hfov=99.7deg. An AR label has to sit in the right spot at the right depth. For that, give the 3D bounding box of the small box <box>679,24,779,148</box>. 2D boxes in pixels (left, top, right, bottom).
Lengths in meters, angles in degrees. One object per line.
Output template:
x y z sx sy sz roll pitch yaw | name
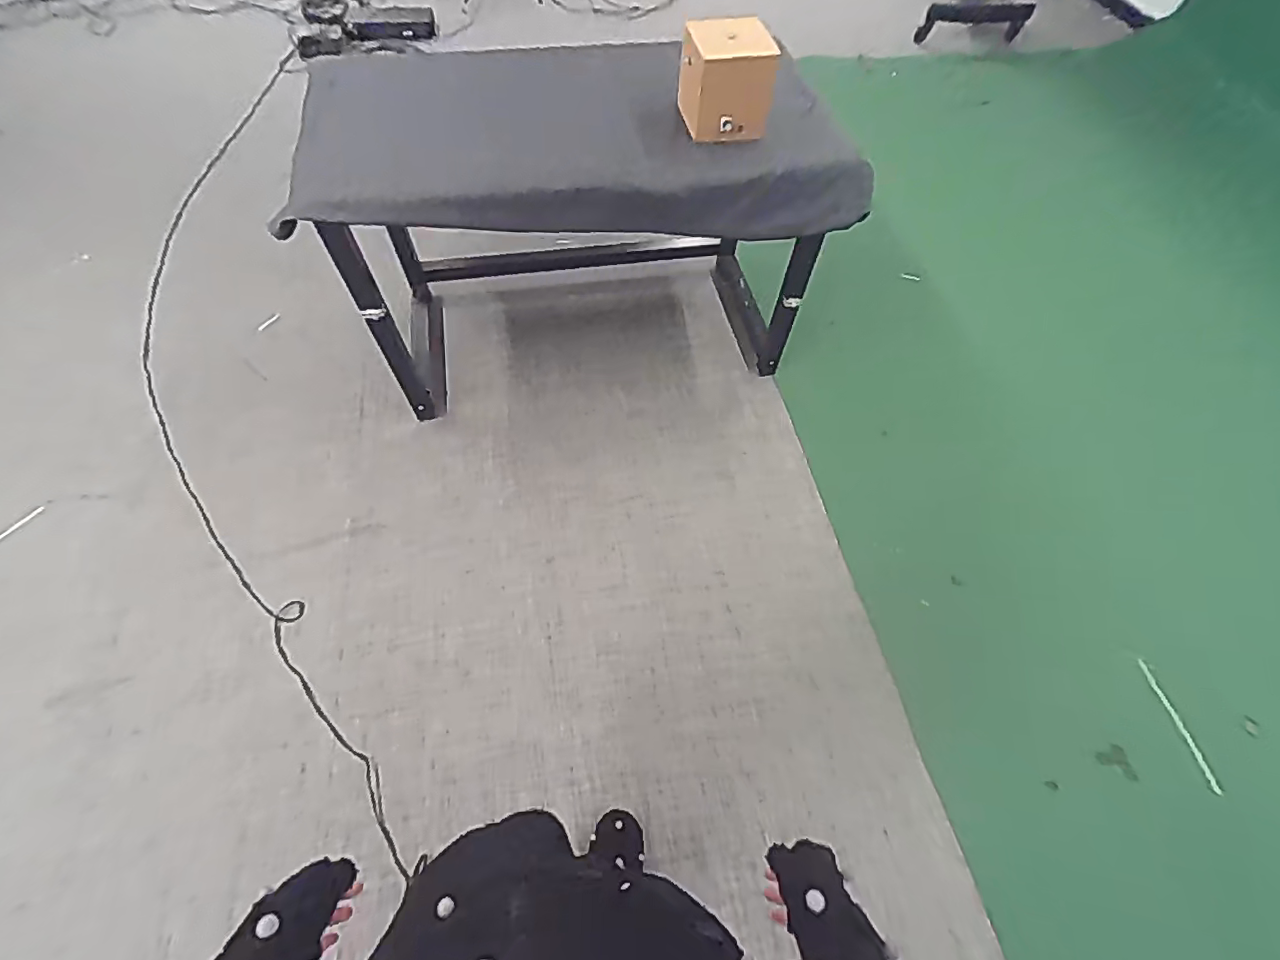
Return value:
0.187 -0.873 1.203 0.168 0.176 0.179 -9 61 -6 | small box
